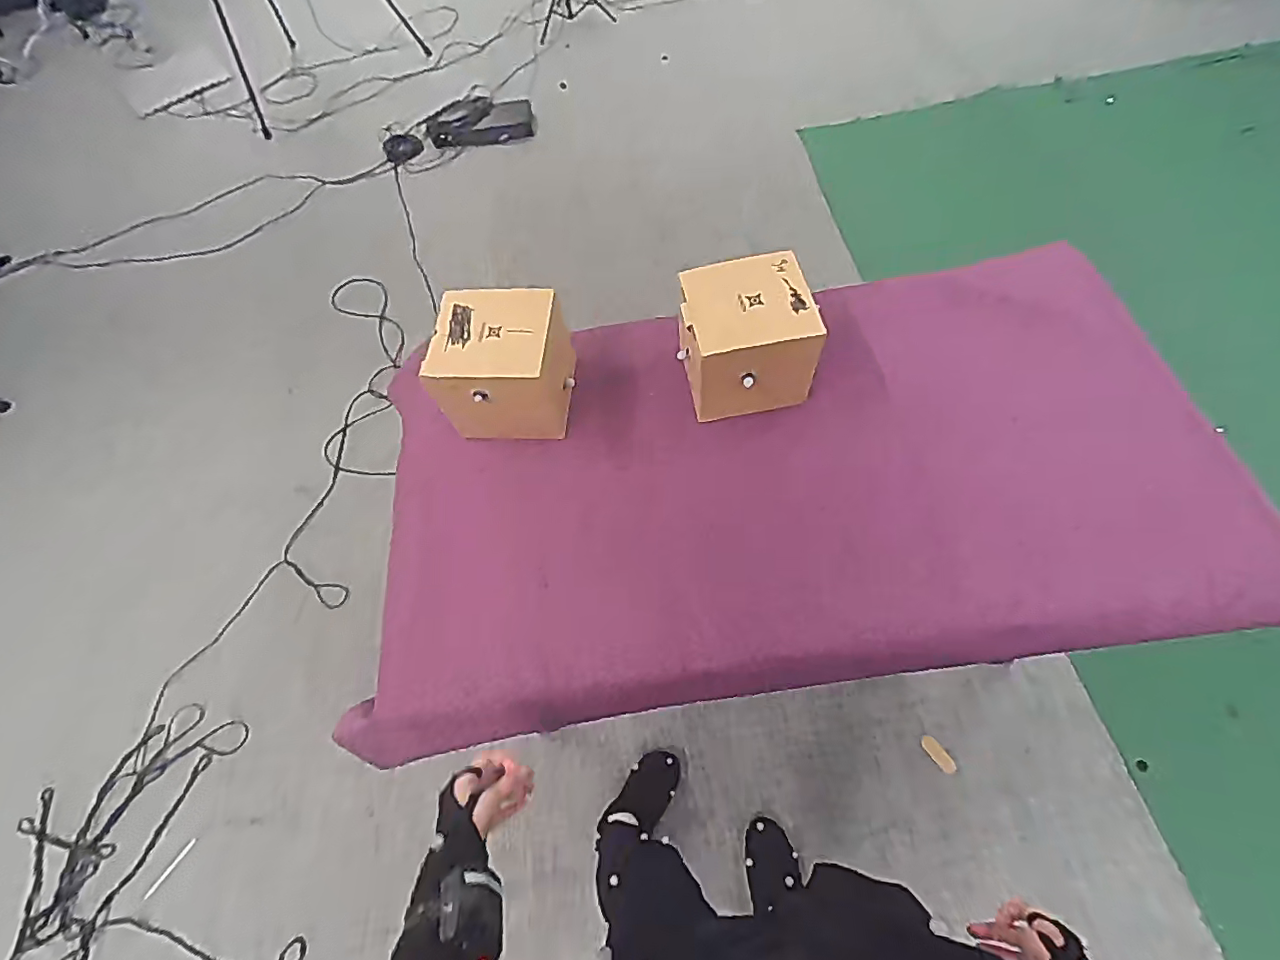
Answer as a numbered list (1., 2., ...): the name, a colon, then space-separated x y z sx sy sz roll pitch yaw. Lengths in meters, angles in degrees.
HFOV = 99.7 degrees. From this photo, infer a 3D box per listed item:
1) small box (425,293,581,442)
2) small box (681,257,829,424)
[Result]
1. small box: -0.201 -0.170 0.848 0.179 0.176 0.168 1 63 6
2. small box: 0.166 -0.205 0.828 0.179 0.176 0.168 -11 63 1
